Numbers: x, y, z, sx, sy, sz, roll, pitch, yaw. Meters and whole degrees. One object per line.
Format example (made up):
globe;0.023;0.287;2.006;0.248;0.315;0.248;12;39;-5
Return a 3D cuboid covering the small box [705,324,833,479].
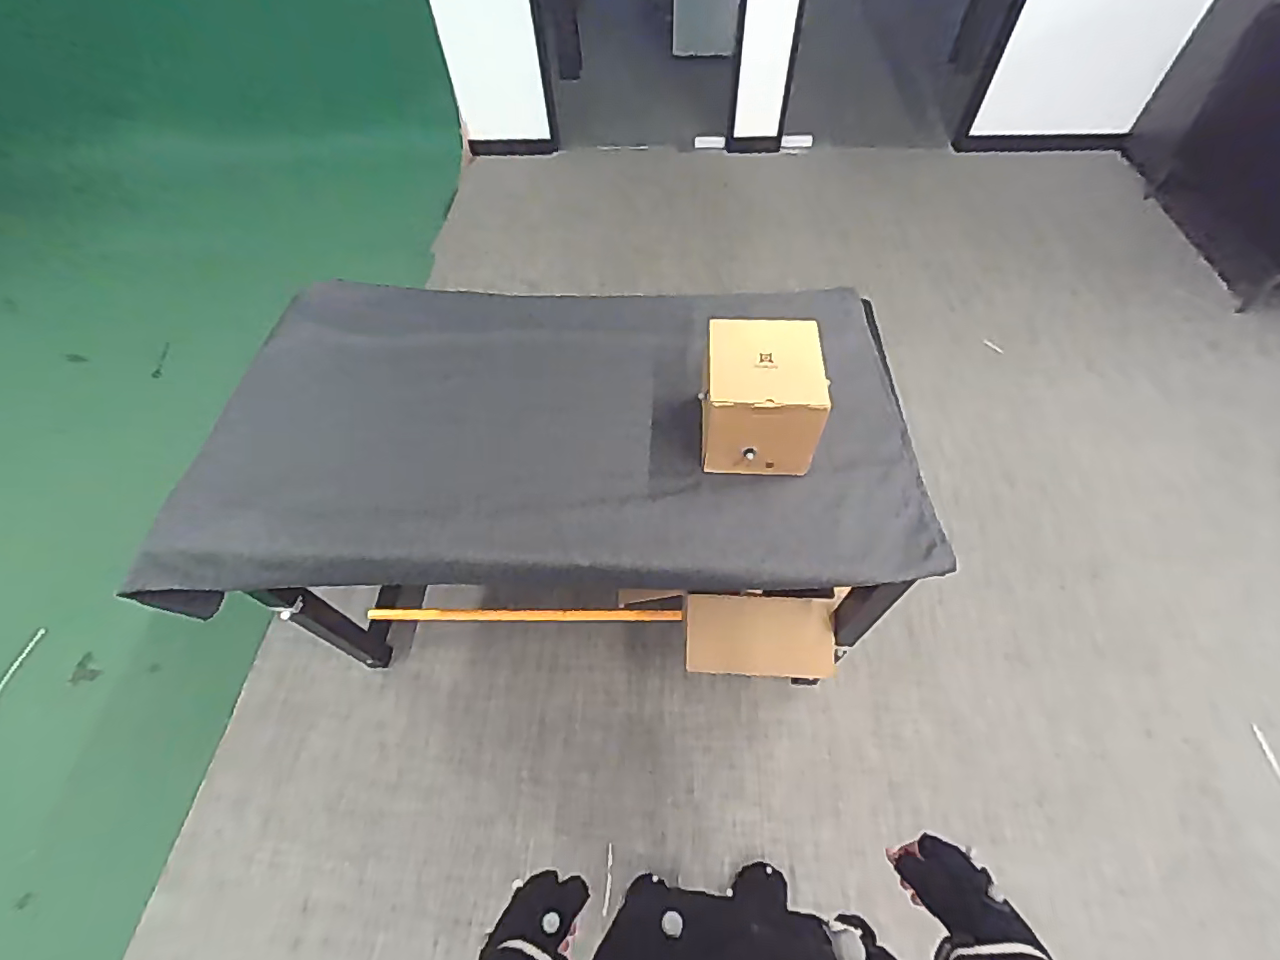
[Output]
small box;0.190;-0.122;0.852;0.168;0.176;0.179;2;56;4
